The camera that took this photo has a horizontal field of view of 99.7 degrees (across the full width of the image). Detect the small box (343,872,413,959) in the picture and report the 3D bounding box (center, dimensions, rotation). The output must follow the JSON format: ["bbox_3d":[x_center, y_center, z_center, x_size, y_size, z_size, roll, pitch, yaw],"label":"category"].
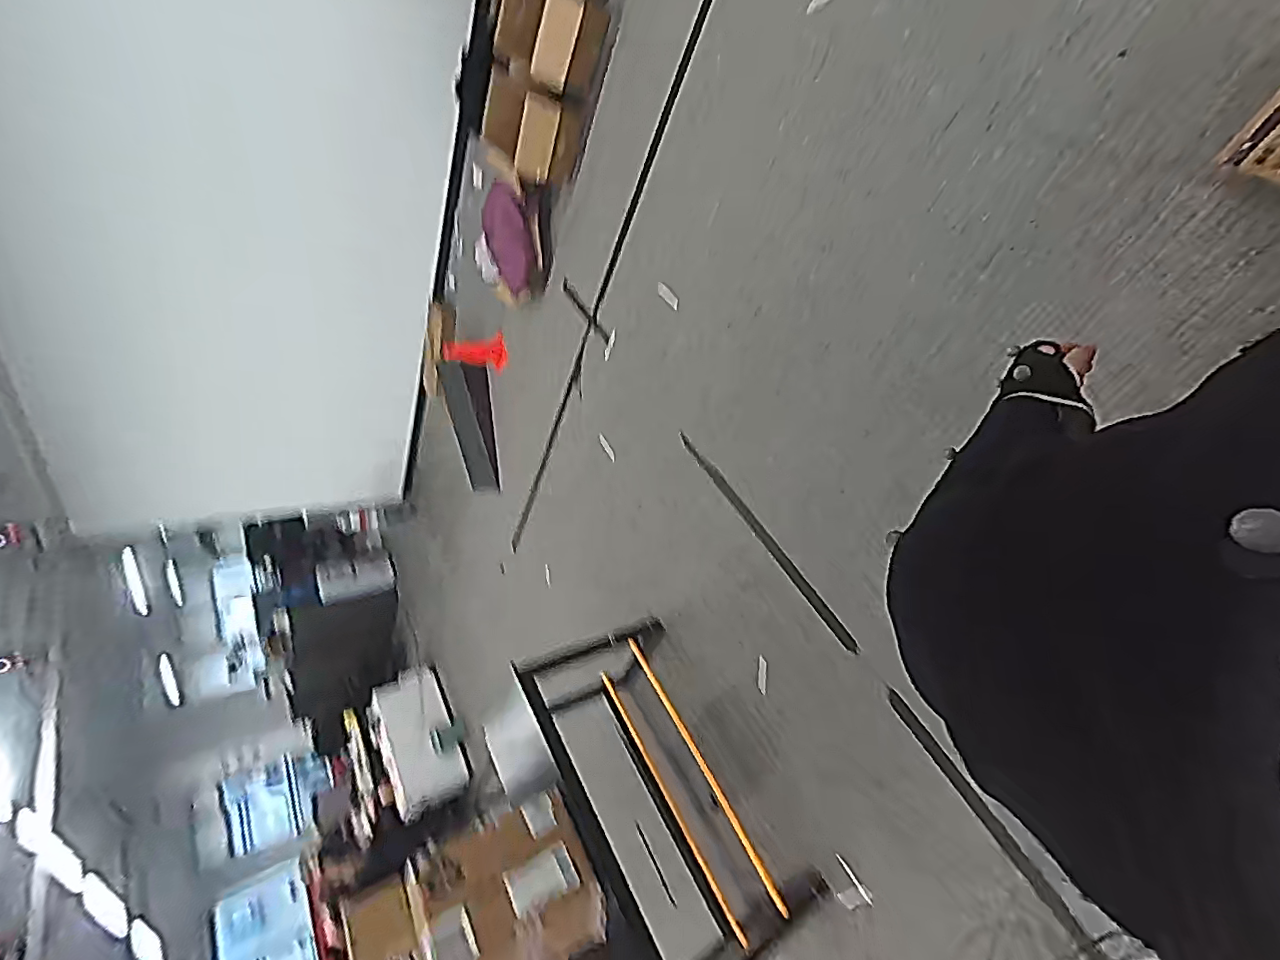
[{"bbox_3d":[-0.810,1.364,1.674,0.168,0.176,0.179,53,136,34],"label":"small box"}]
